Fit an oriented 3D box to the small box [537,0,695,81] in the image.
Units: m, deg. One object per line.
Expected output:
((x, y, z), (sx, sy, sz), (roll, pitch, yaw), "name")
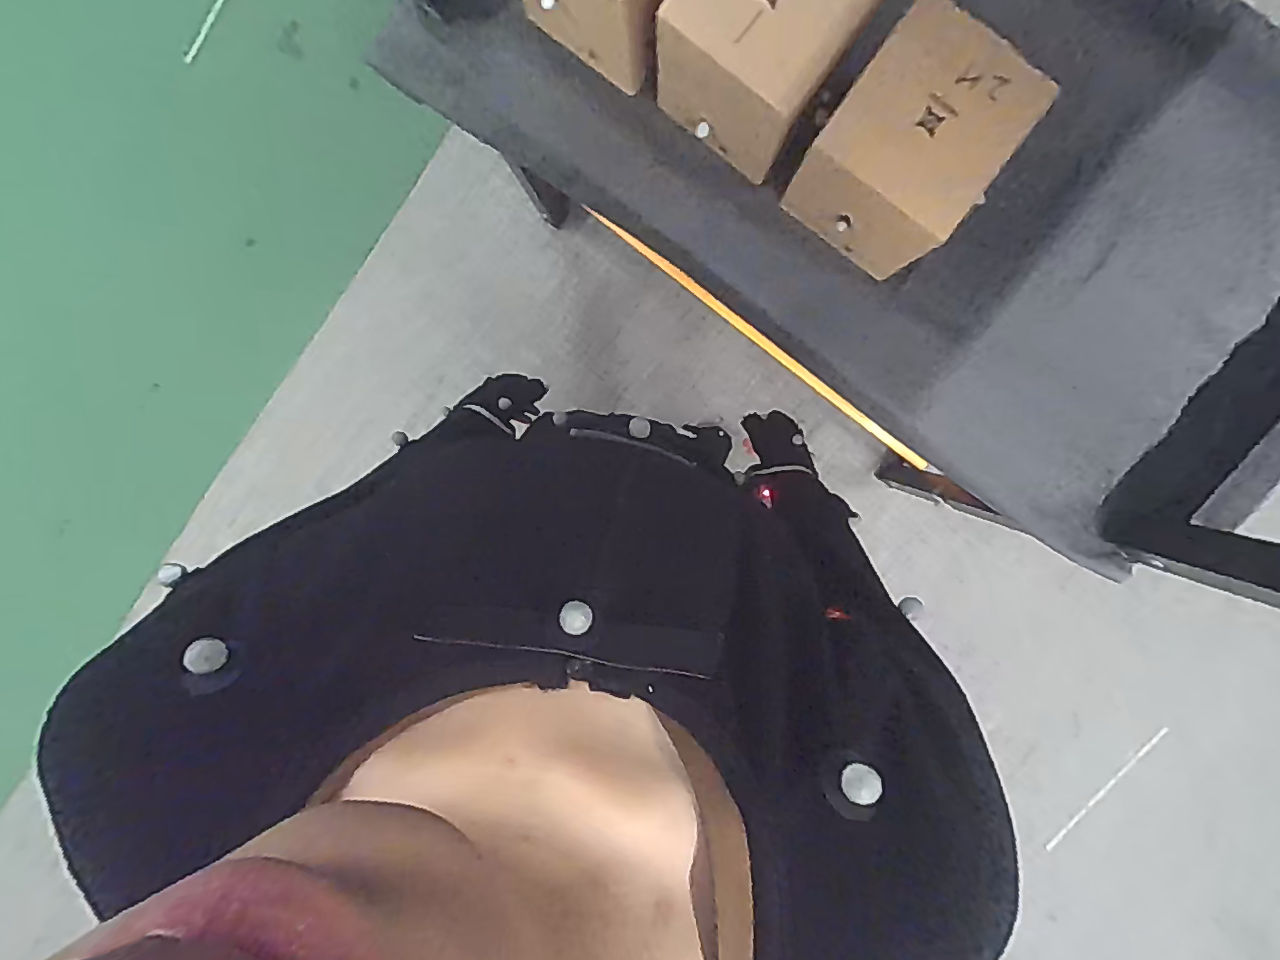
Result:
((-0.024, -0.594, 0.585), (0.168, 0.176, 0.179), (36, 97, -3), "small box")
